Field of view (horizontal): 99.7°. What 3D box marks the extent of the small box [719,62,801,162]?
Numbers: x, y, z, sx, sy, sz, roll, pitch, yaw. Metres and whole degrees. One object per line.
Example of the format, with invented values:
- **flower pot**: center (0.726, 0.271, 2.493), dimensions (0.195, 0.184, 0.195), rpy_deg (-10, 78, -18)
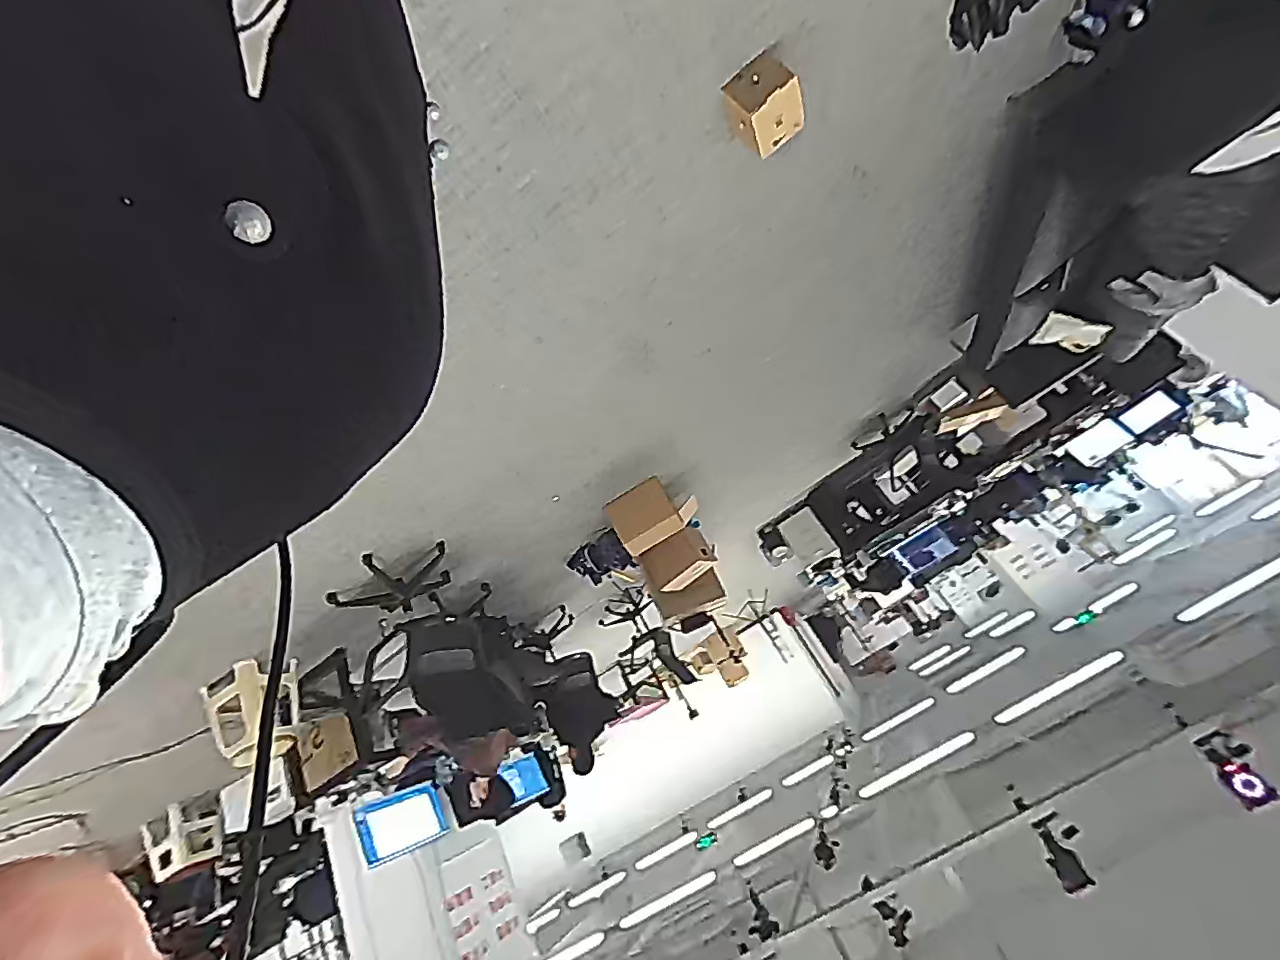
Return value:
- **small box**: center (0.367, -1.134, 1.658), dimensions (0.168, 0.176, 0.179), rpy_deg (-37, 154, 11)
